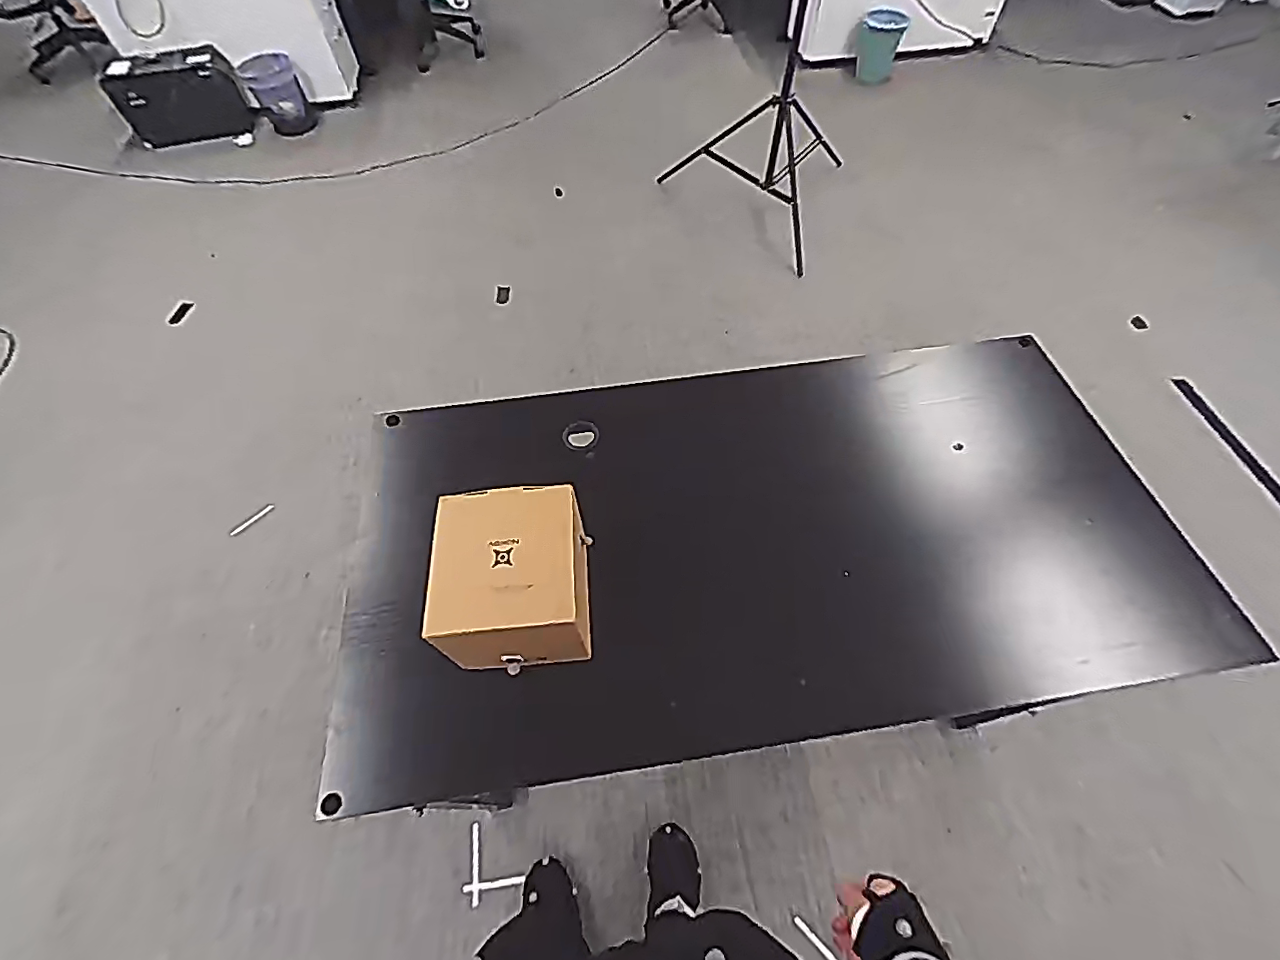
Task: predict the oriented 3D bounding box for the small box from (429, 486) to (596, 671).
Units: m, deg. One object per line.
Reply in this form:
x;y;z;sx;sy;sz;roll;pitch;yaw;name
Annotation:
-0.149;0.129;0.687;0.168;0.176;0.179;-6;59;-1;small box
